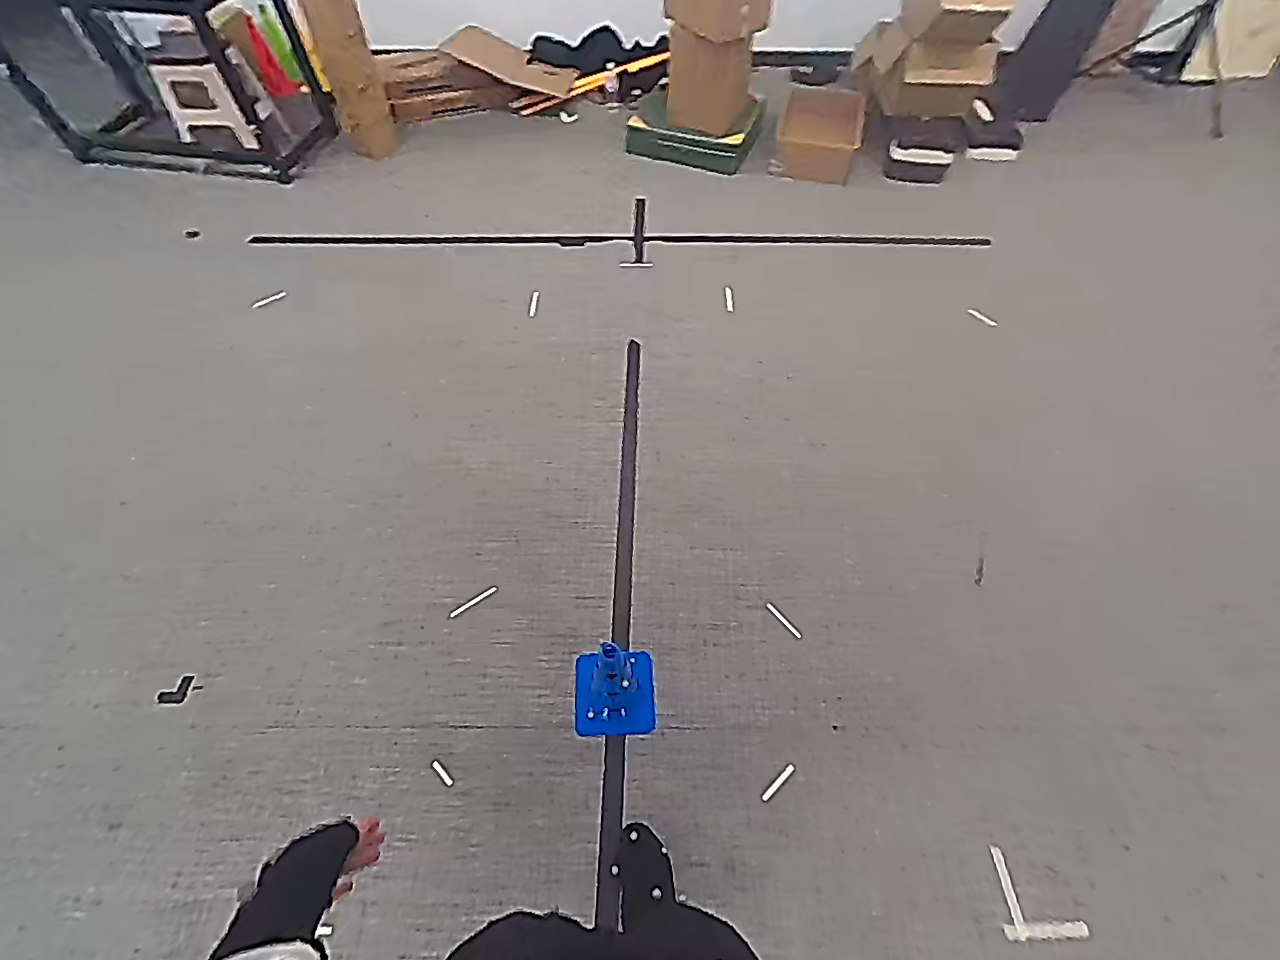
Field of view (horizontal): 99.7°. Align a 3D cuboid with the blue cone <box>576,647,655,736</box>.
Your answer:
[{"bbox_3d":[-0.060,0.442,1.212,0.192,0.380,0.193,-3,58,-3],"label":"blue cone"}]
